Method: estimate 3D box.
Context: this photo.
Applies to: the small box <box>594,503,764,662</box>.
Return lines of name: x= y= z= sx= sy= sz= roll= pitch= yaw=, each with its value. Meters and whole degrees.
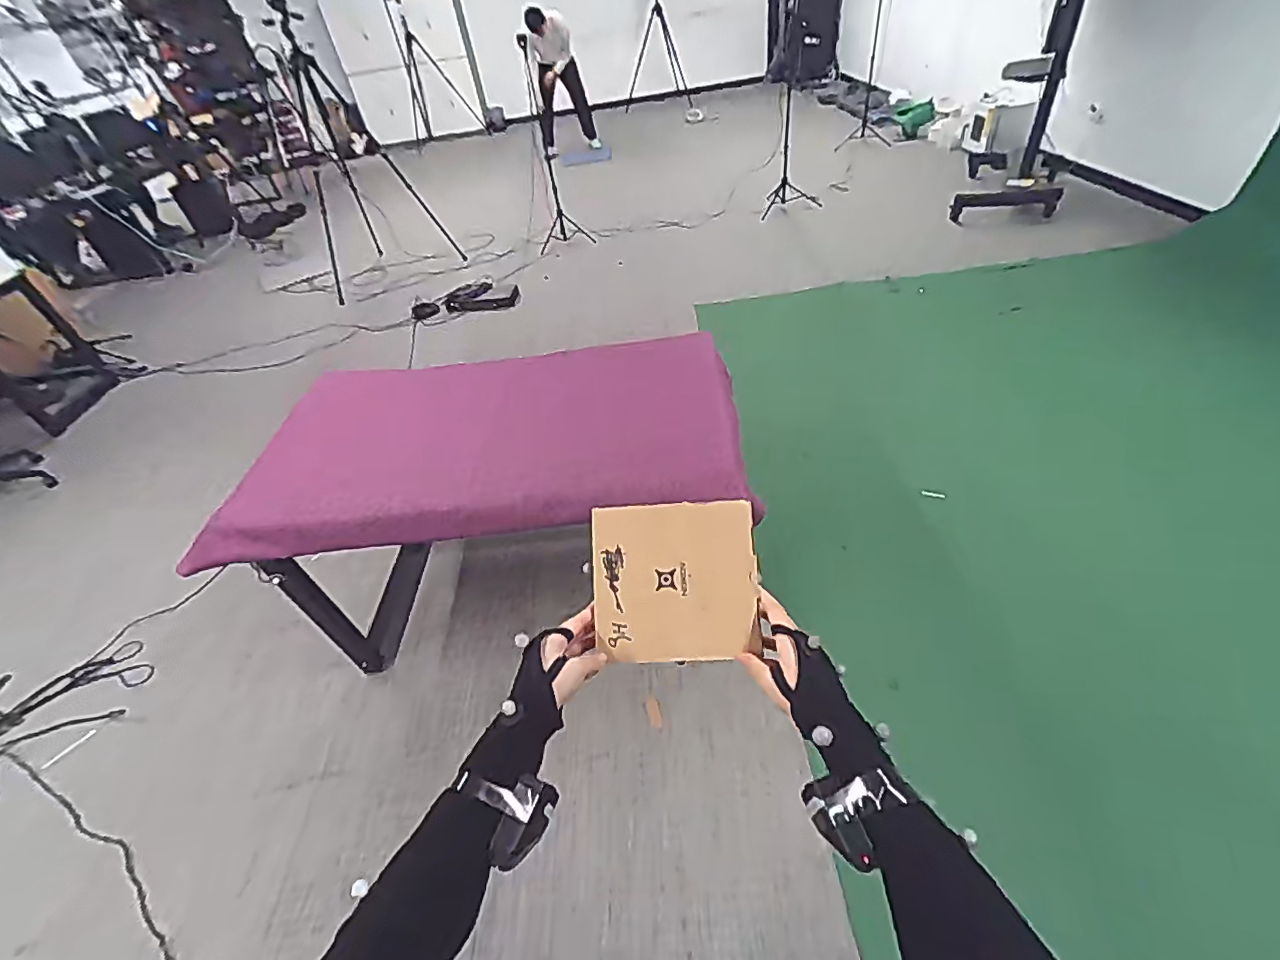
small box: x=0.043 y=0.123 z=0.650 sx=0.179 sy=0.176 sz=0.168 roll=-3 pitch=77 yaw=4
